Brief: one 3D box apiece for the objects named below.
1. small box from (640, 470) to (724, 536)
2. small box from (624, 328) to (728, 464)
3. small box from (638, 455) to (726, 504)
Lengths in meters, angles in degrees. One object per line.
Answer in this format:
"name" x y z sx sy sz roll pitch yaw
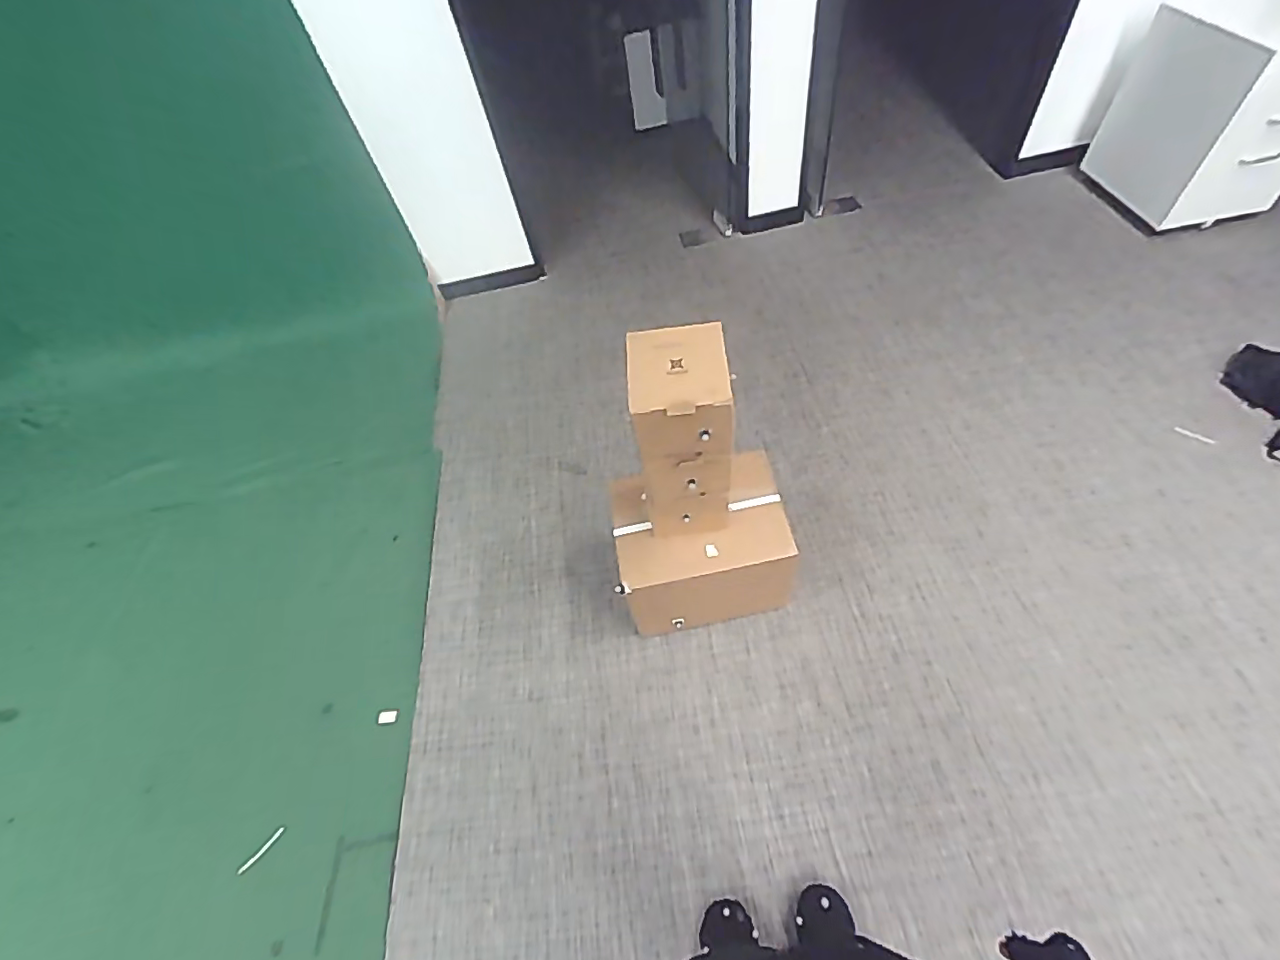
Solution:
"small box" 0.095 0.018 1.242 0.179 0.176 0.168 -5 58 5
"small box" 0.065 -0.140 0.961 0.168 0.176 0.179 -5 59 4
"small box" 0.079 -0.065 1.105 0.168 0.176 0.179 -12 60 1
